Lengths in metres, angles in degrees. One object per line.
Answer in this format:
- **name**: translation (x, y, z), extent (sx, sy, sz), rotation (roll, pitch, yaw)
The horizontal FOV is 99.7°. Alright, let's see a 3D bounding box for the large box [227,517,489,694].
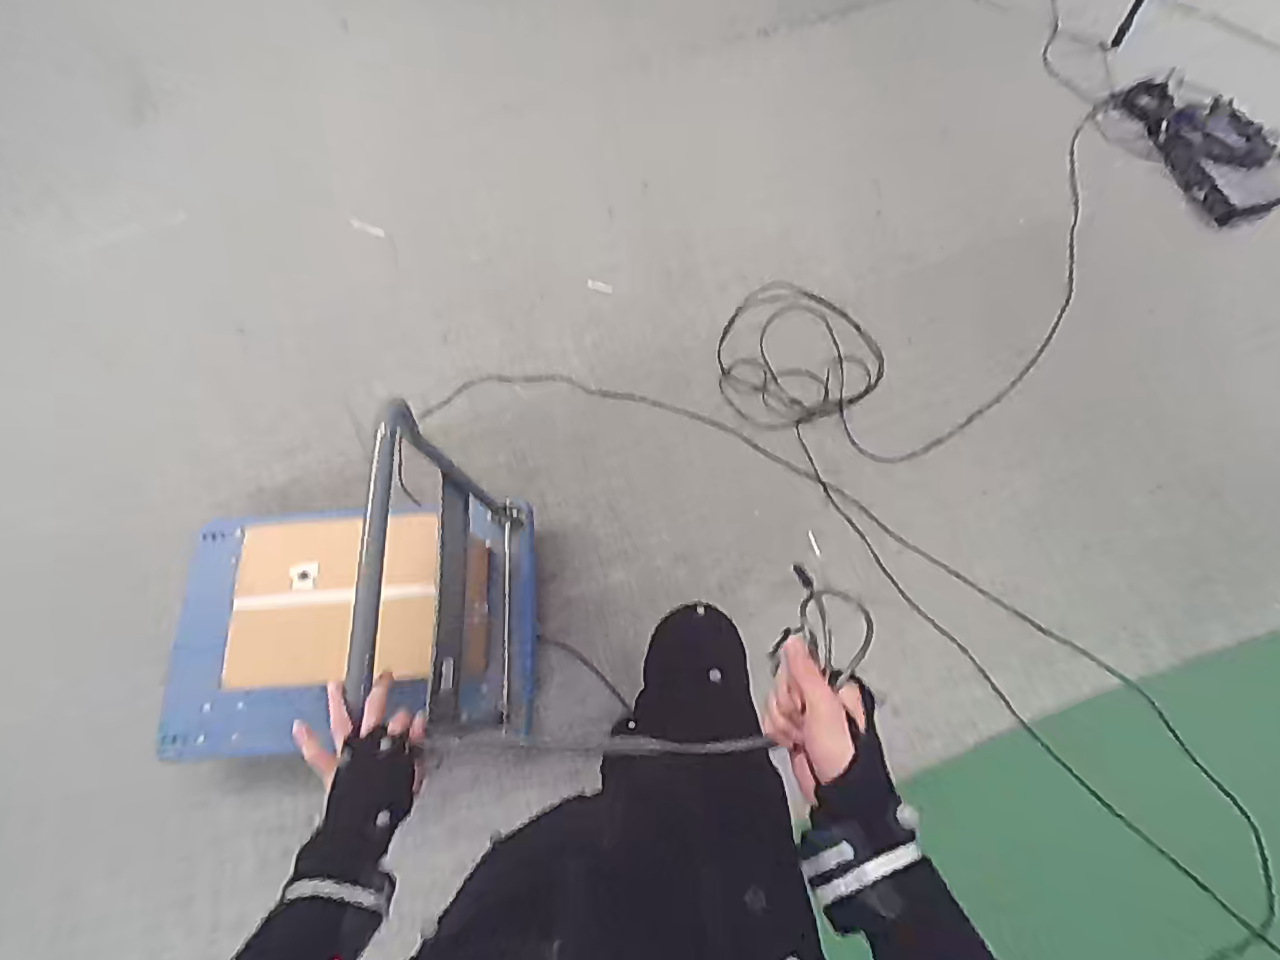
- **large box**: translation (-0.572, 0.281, 1.184), extent (0.408, 0.320, 0.320), rotation (-4, 71, 2)
